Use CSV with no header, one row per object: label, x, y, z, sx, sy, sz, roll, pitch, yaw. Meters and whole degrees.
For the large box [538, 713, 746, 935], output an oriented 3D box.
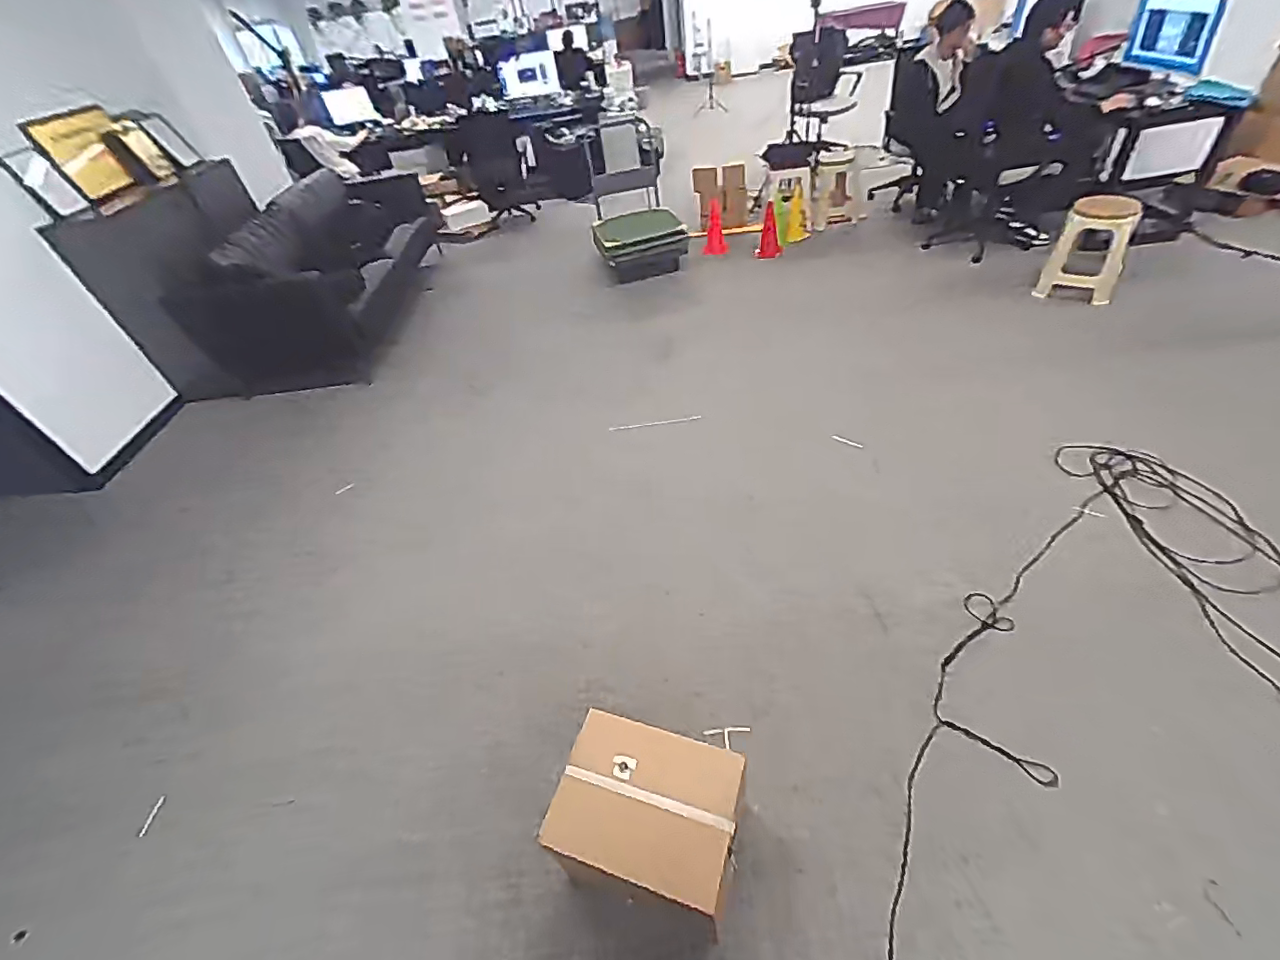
large box,0.031,0.827,1.316,0.408,0.320,0.320,8,45,20
